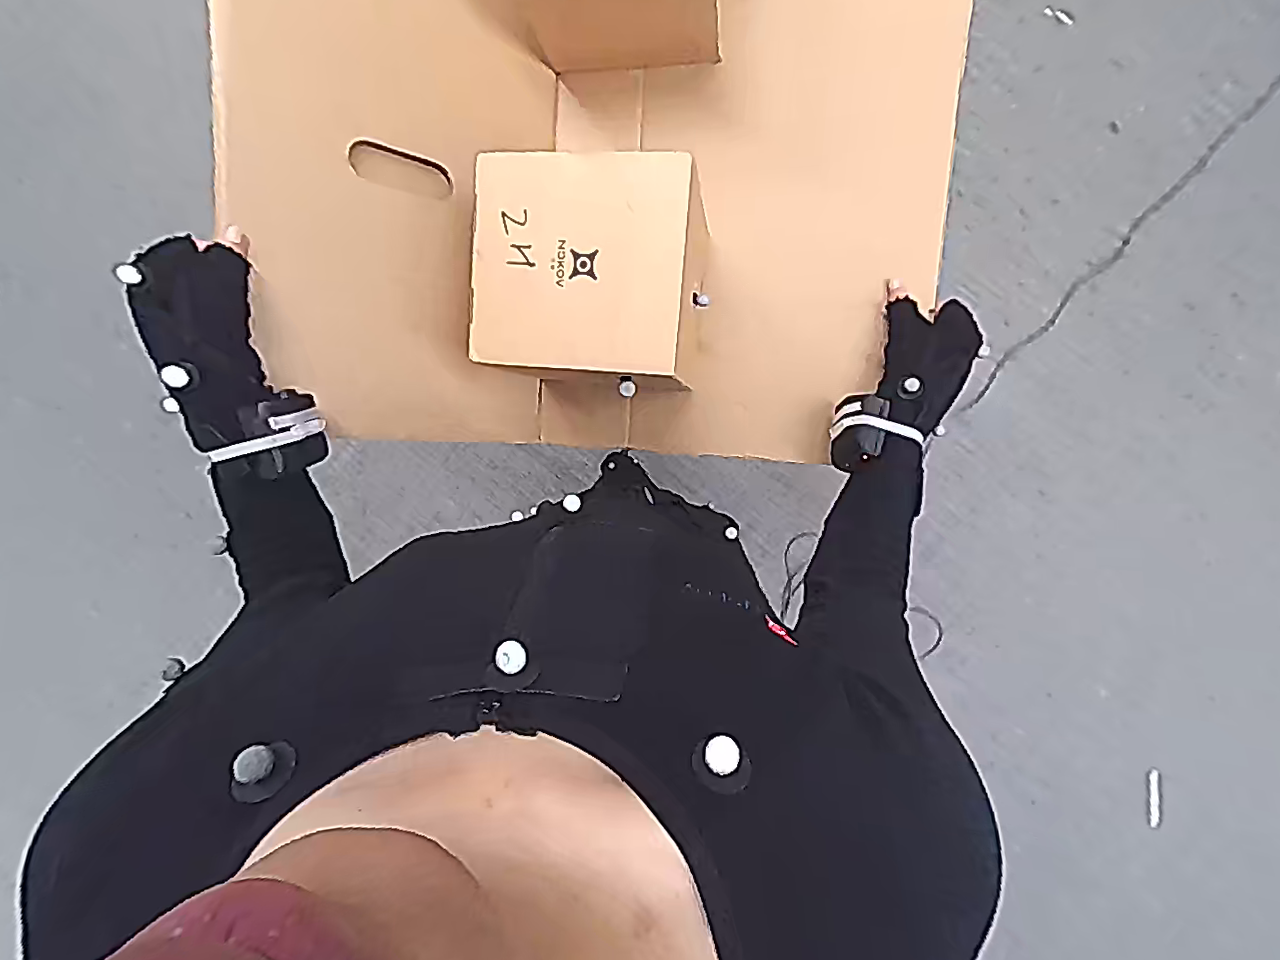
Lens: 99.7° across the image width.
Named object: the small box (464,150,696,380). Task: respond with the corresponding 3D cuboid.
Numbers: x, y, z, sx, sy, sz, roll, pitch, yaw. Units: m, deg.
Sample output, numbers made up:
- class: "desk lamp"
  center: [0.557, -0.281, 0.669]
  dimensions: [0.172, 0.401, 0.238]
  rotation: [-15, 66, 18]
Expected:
- class: "small box"
  center: [-0.044, -0.186, 0.512]
  dimensions: [0.179, 0.176, 0.168]
  rotation: [5, 97, 11]
